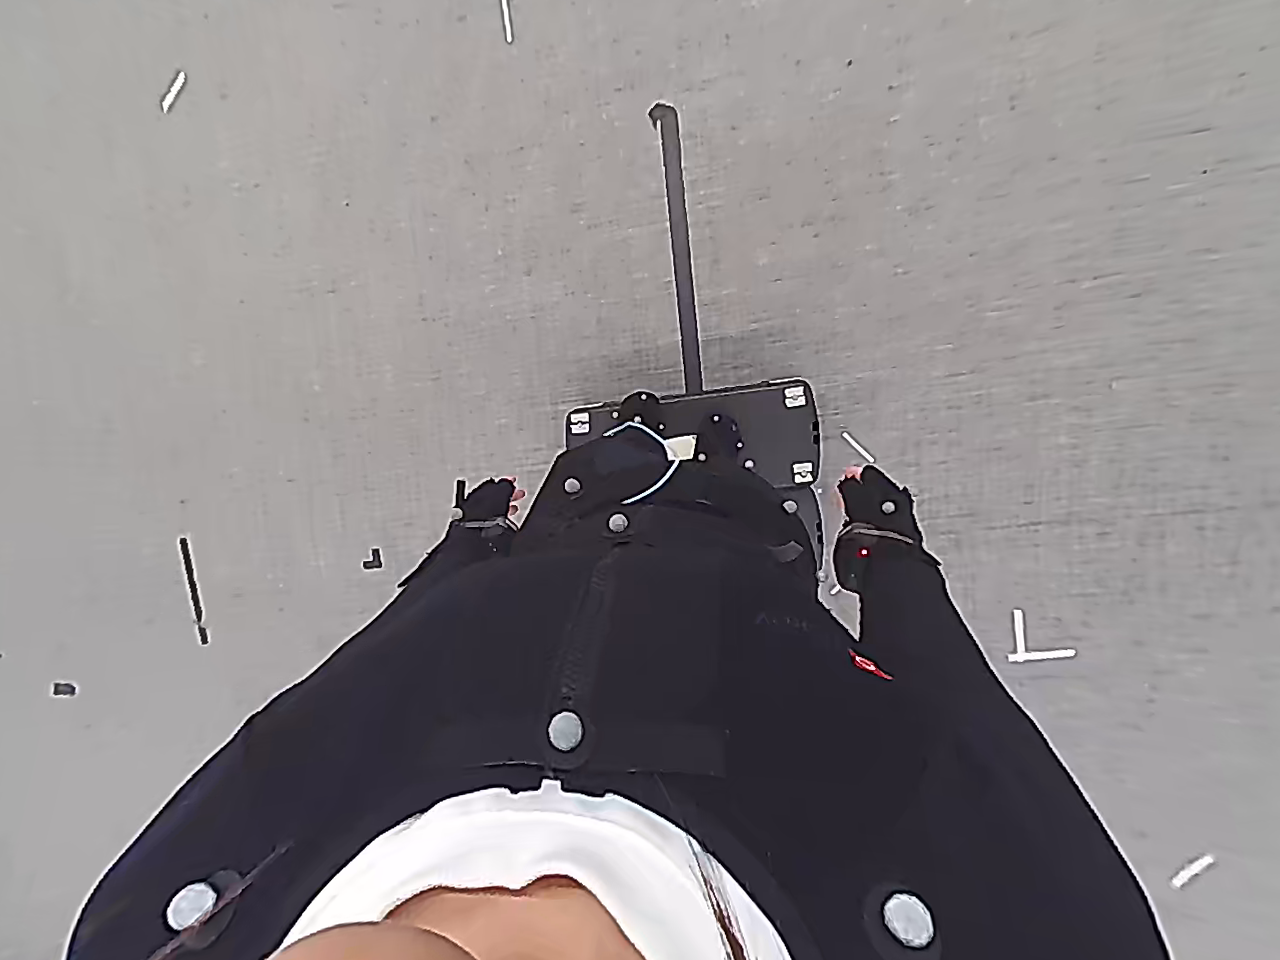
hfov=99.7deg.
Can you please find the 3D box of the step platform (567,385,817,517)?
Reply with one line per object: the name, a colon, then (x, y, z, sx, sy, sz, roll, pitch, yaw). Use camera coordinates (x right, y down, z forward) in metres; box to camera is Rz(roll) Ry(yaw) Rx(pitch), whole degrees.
step platform: (0.138, -0.079, 1.515, 0.684, 0.204, 0.286, -7, 99, 9)
